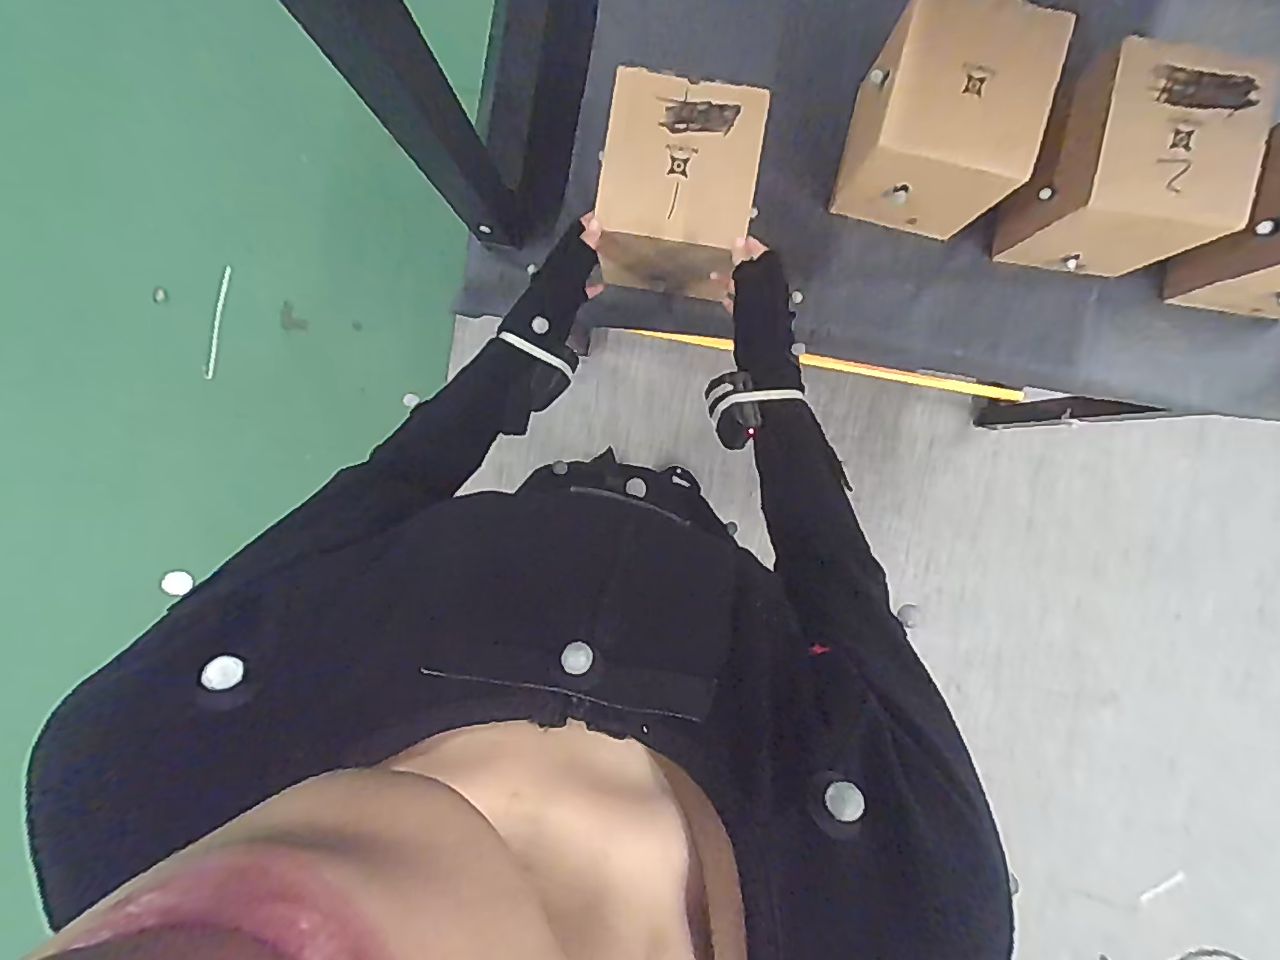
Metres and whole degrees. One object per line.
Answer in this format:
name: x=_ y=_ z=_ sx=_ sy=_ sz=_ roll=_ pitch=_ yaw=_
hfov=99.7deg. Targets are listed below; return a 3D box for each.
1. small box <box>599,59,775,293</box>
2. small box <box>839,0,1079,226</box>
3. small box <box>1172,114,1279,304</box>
small box: x=0.050 y=-0.347 z=0.650 sx=0.168 sy=0.176 sz=0.179 roll=9 pitch=92 yaw=1
small box: x=0.356 y=-0.431 z=0.642 sx=0.168 sy=0.176 sz=0.179 roll=14 pitch=94 yaw=1
small box: x=0.790 y=-0.319 z=0.633 sx=0.168 sy=0.176 sz=0.179 roll=9 pitch=93 yaw=1
